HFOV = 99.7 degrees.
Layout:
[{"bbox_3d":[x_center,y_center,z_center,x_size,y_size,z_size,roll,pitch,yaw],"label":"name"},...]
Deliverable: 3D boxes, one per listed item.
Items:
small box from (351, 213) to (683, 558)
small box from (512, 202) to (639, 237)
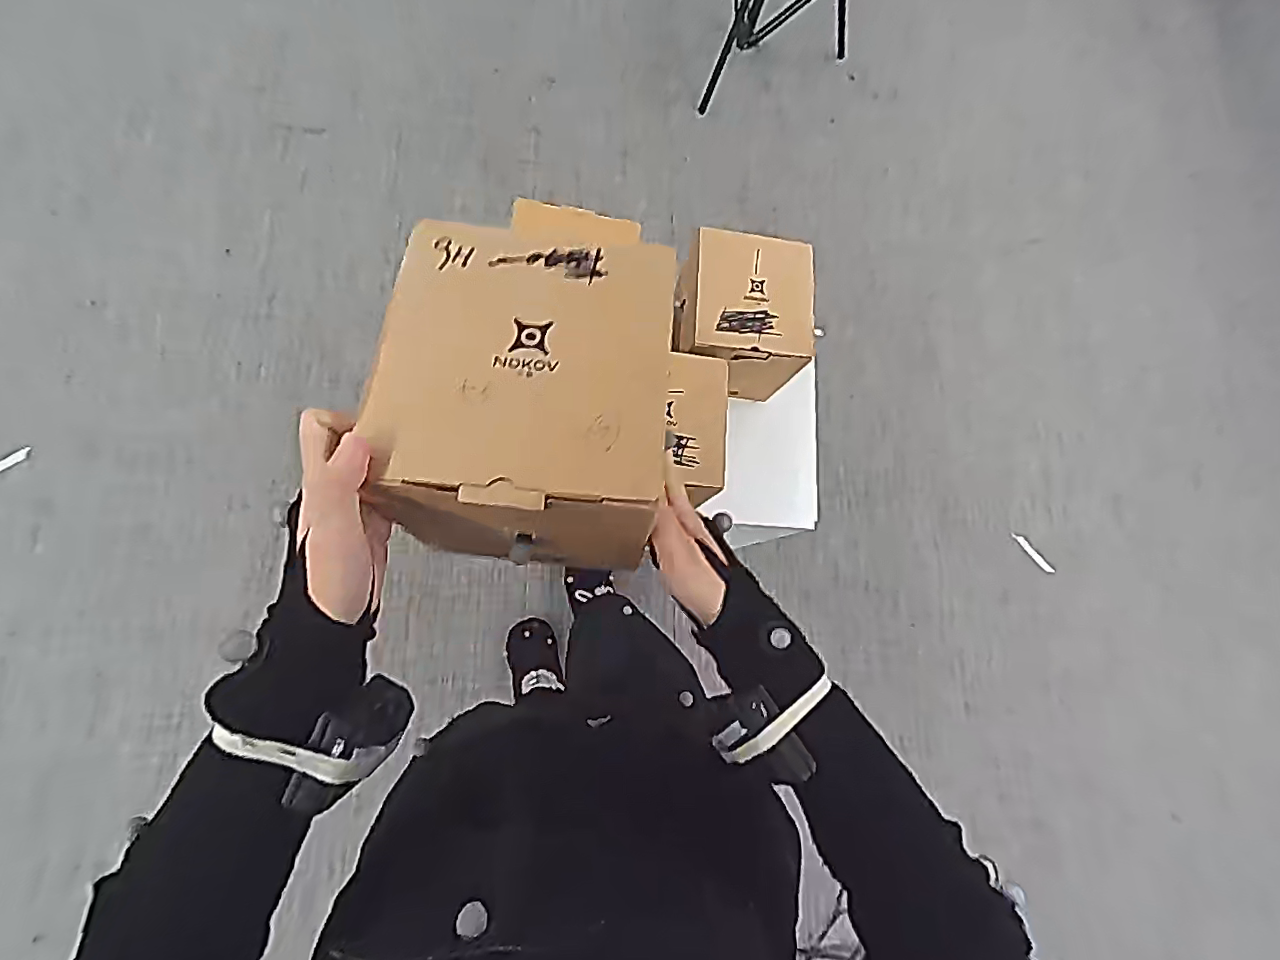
[{"bbox_3d":[-0.066,-0.048,0.382,0.168,0.176,0.179,6,70,-2],"label":"small box"},{"bbox_3d":[-0.102,-0.248,0.766,0.168,0.176,0.179,8,77,-9],"label":"small box"}]
